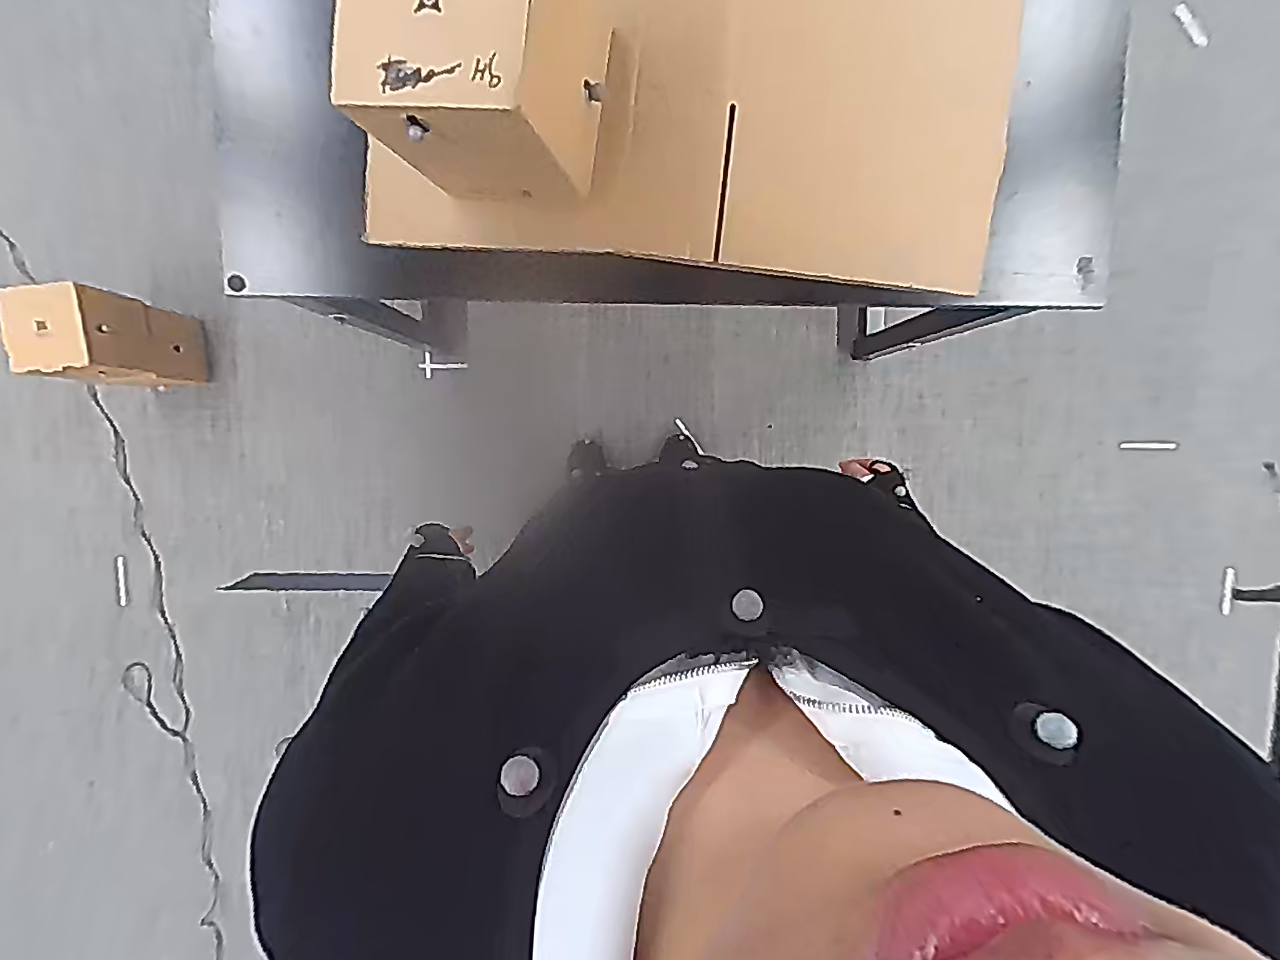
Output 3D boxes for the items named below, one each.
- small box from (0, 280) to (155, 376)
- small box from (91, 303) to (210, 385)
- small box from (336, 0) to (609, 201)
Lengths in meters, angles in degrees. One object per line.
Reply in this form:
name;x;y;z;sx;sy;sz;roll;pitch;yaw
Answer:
small box;-1.238;-0.329;1.205;0.168;0.176;0.179;-7;94;-1
small box;-1.239;-0.338;1.368;0.168;0.176;0.179;-4;96;0
small box;-0.134;-0.382;0.487;0.168;0.176;0.179;10;96;12
